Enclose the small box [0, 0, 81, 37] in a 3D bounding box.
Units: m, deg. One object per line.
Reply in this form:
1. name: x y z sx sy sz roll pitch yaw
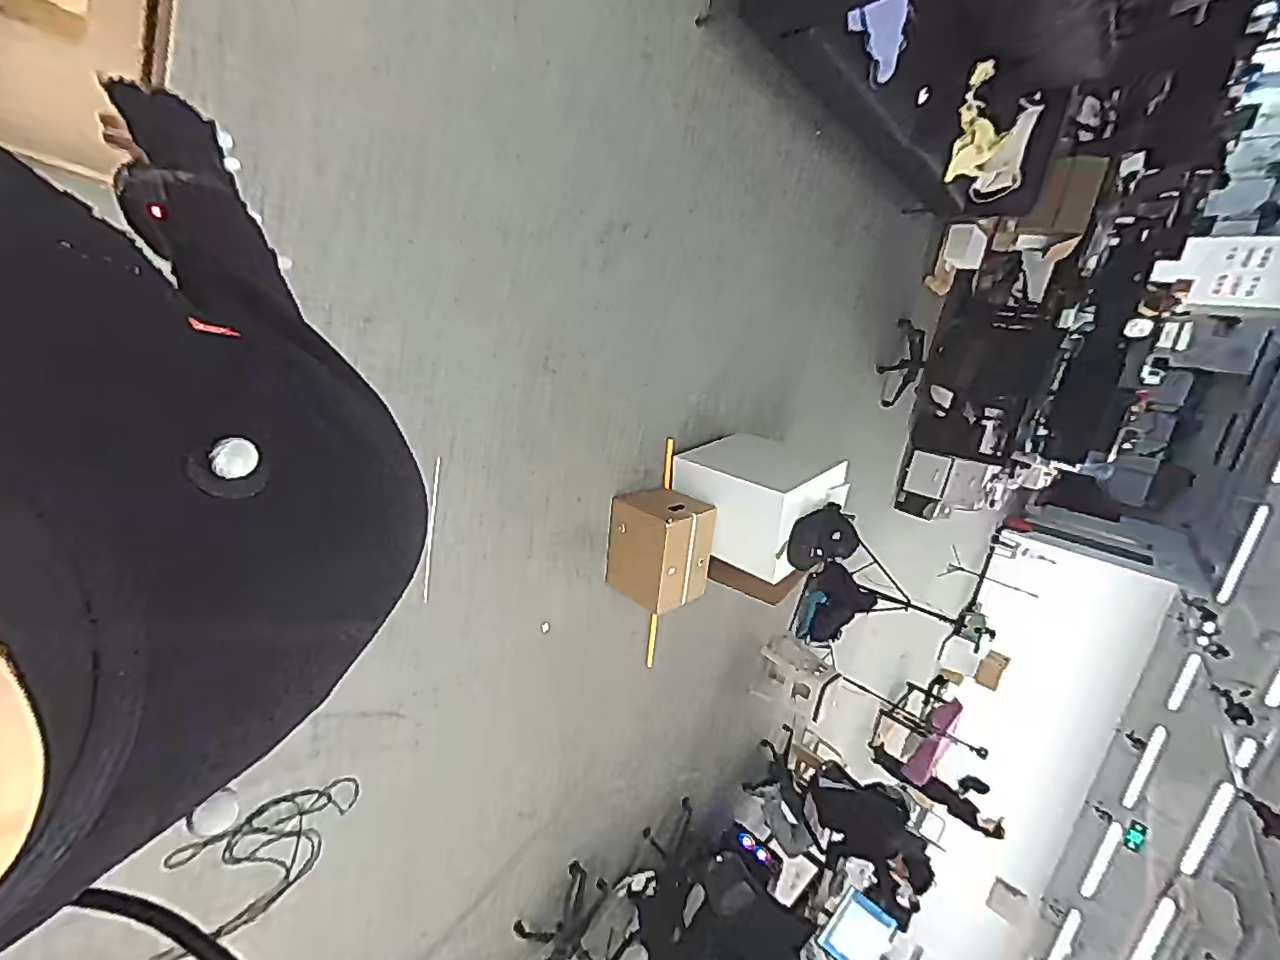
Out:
1. small box: -0.915 -0.781 0.762 0.168 0.176 0.179 -4 109 -48
